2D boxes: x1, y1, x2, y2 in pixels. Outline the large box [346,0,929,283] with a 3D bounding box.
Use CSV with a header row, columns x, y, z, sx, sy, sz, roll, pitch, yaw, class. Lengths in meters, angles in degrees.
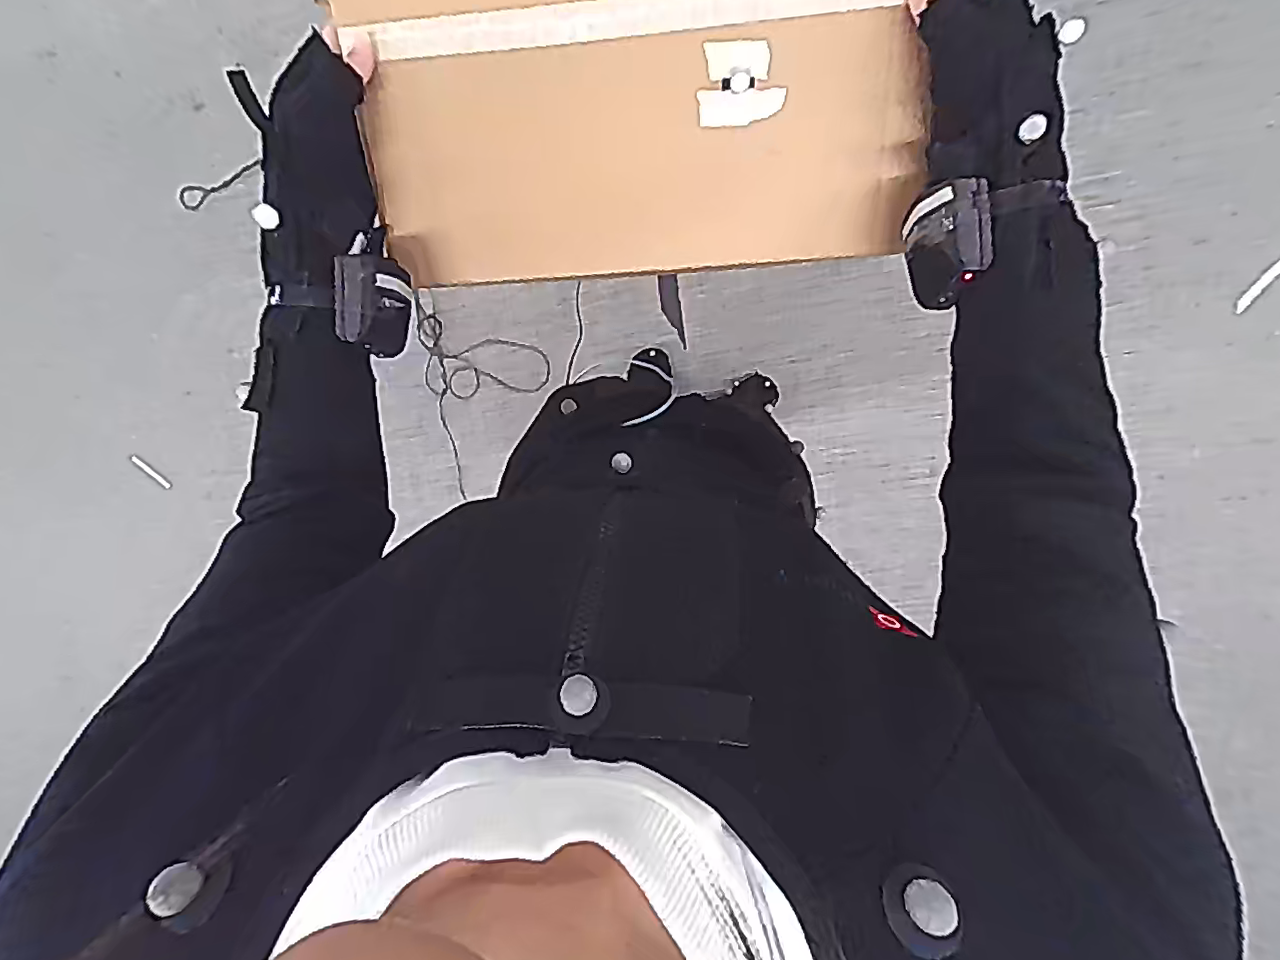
x,y,z,sx,sy,sz,roll,pitch,yaw,class
-0.001,-0.368,0.510,0.408,0.320,0.320,-4,111,3,large box
